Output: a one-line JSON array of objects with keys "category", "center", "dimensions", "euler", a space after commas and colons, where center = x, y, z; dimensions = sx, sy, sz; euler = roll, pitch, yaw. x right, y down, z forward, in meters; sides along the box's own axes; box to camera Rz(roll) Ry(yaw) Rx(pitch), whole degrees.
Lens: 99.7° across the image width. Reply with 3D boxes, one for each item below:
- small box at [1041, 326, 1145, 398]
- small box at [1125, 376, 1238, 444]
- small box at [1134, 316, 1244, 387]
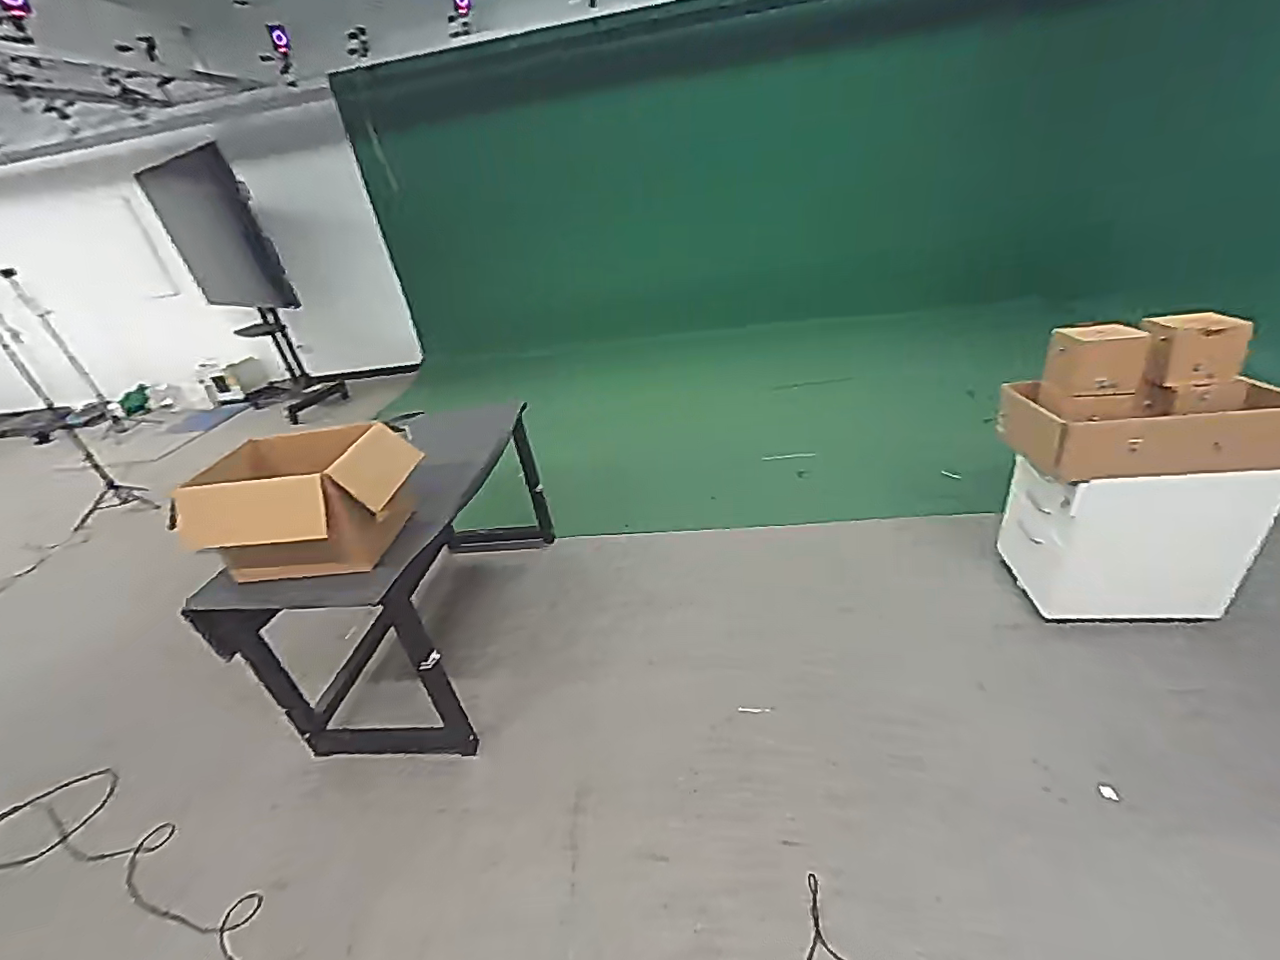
[{"category": "small box", "center": [1.336, -0.352, 1.612], "dimensions": [0.168, 0.176, 0.179], "euler": [-3, 26, 12]}, {"category": "small box", "center": [1.616, -0.219, 1.629], "dimensions": [0.168, 0.176, 0.179], "euler": [-5, 24, 12]}, {"category": "small box", "center": [1.589, -0.378, 1.592], "dimensions": [0.168, 0.176, 0.179], "euler": [-2, 26, 15]}]
